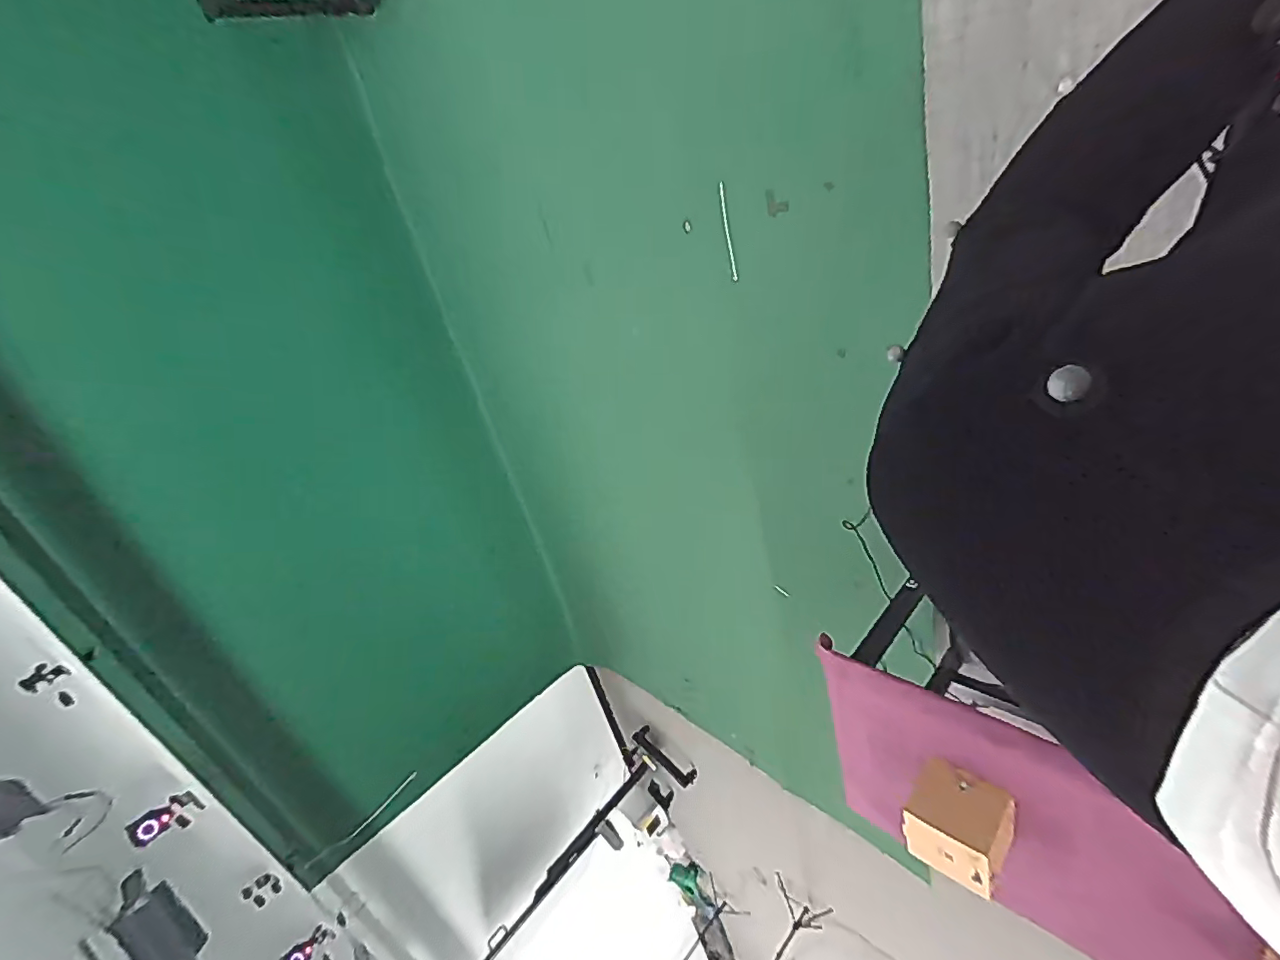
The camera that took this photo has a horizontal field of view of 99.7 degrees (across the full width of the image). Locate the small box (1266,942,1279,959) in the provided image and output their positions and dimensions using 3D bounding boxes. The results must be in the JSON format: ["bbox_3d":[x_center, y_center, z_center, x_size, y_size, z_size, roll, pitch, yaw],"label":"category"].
[{"bbox_3d":[1.124,0.900,0.867,0.179,0.176,0.168,15,130,47],"label":"small box"}]

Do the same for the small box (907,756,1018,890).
[{"bbox_3d":[0.750,0.784,1.261,0.179,0.176,0.168,13,129,48],"label":"small box"}]
